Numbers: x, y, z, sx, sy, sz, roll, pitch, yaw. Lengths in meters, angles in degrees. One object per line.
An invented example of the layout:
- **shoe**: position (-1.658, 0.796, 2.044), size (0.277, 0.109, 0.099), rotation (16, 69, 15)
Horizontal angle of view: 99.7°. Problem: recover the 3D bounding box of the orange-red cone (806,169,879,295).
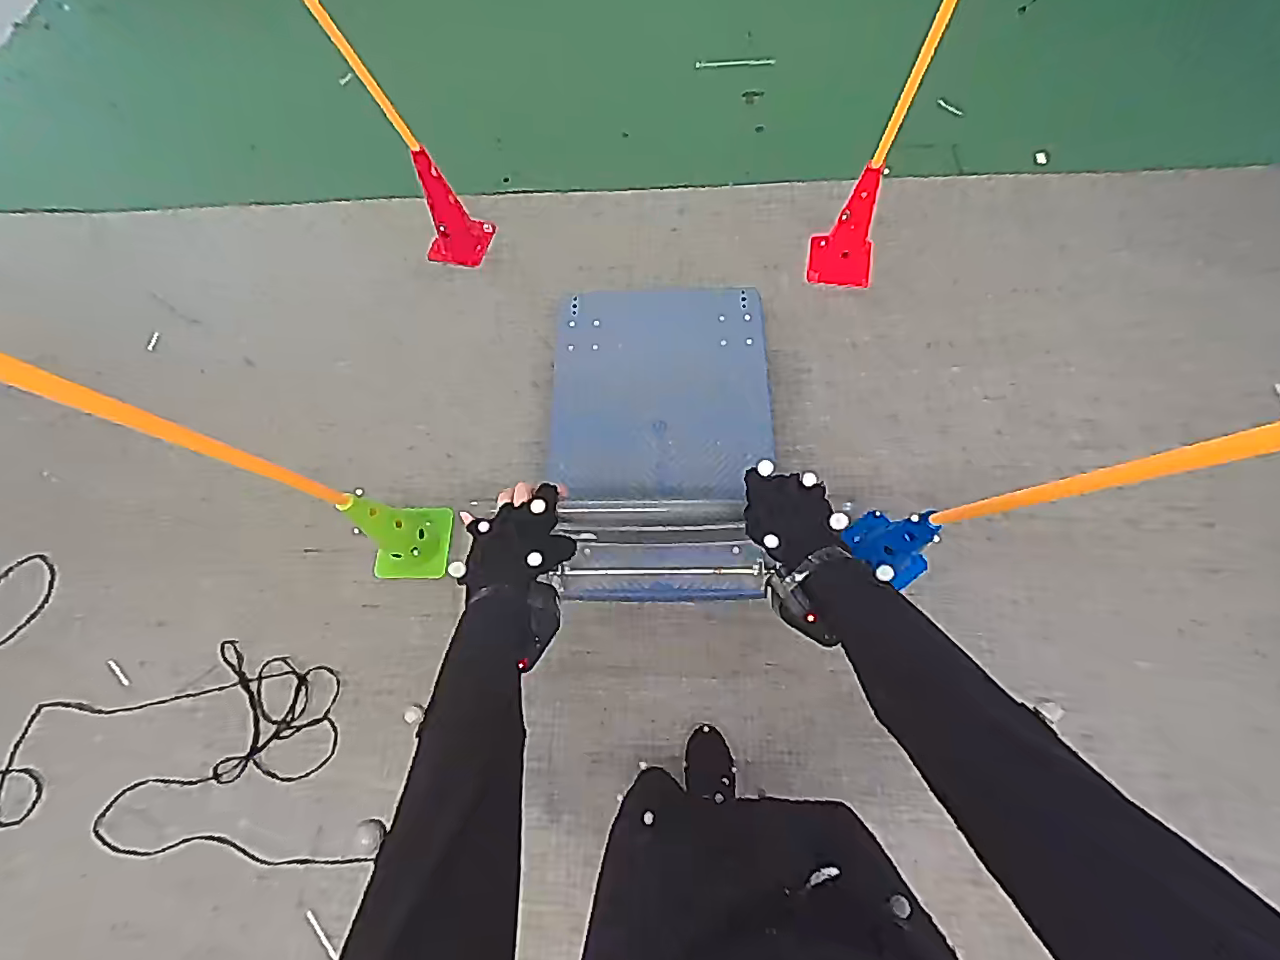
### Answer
- **orange-red cone**: position (0.639, -0.756, 1.614), size (0.198, 0.360, 0.199), rotation (10, 70, 9)
